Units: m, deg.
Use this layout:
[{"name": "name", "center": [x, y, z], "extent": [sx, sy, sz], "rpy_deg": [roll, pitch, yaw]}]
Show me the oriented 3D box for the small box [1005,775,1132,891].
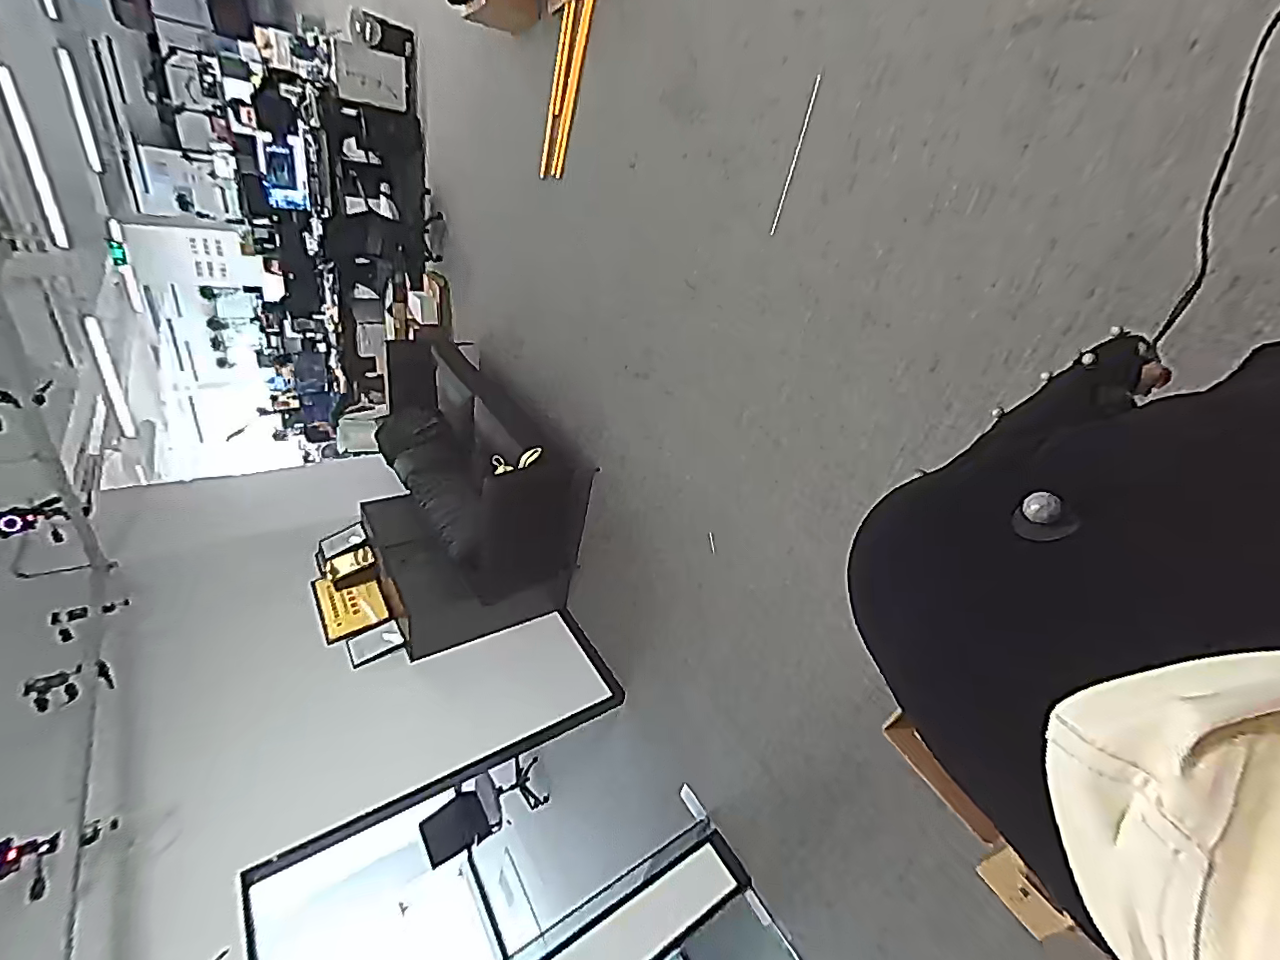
[{"name": "small box", "center": [1.105, 0.905, 1.394], "extent": [0.168, 0.176, 0.179], "rpy_deg": [49, 138, 36]}]
